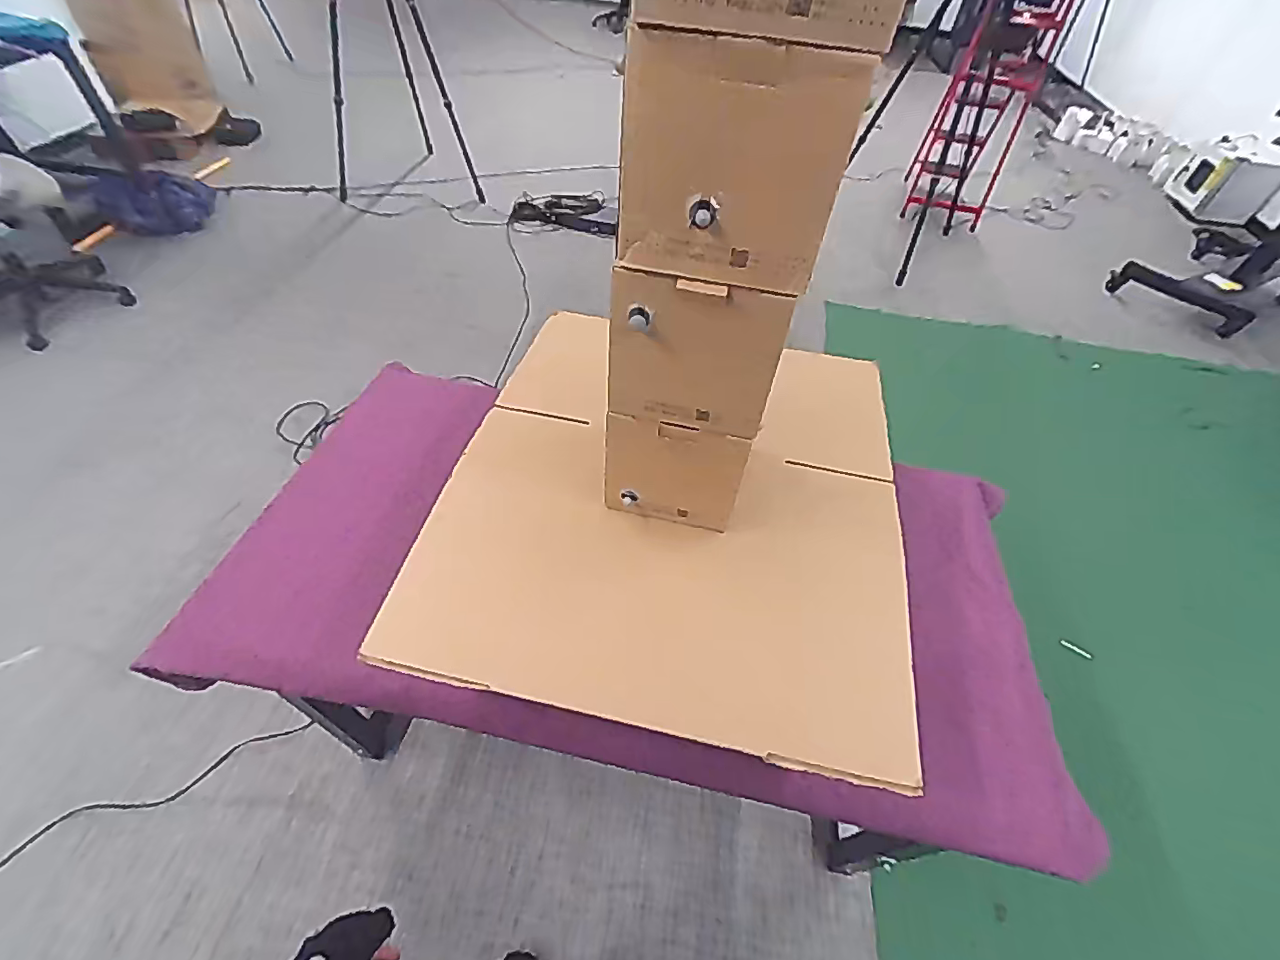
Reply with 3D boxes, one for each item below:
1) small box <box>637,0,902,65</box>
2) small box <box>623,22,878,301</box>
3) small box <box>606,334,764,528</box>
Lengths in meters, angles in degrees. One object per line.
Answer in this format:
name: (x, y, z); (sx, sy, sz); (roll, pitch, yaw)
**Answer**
small box: (0.093, -0.390, 0.341); (0.168, 0.176, 0.179); (9, 48, 3)
small box: (0.082, -0.281, 0.464); (0.168, 0.176, 0.179); (11, 48, 4)
small box: (0.057, -0.061, 0.705); (0.168, 0.176, 0.179); (12, 48, 6)
